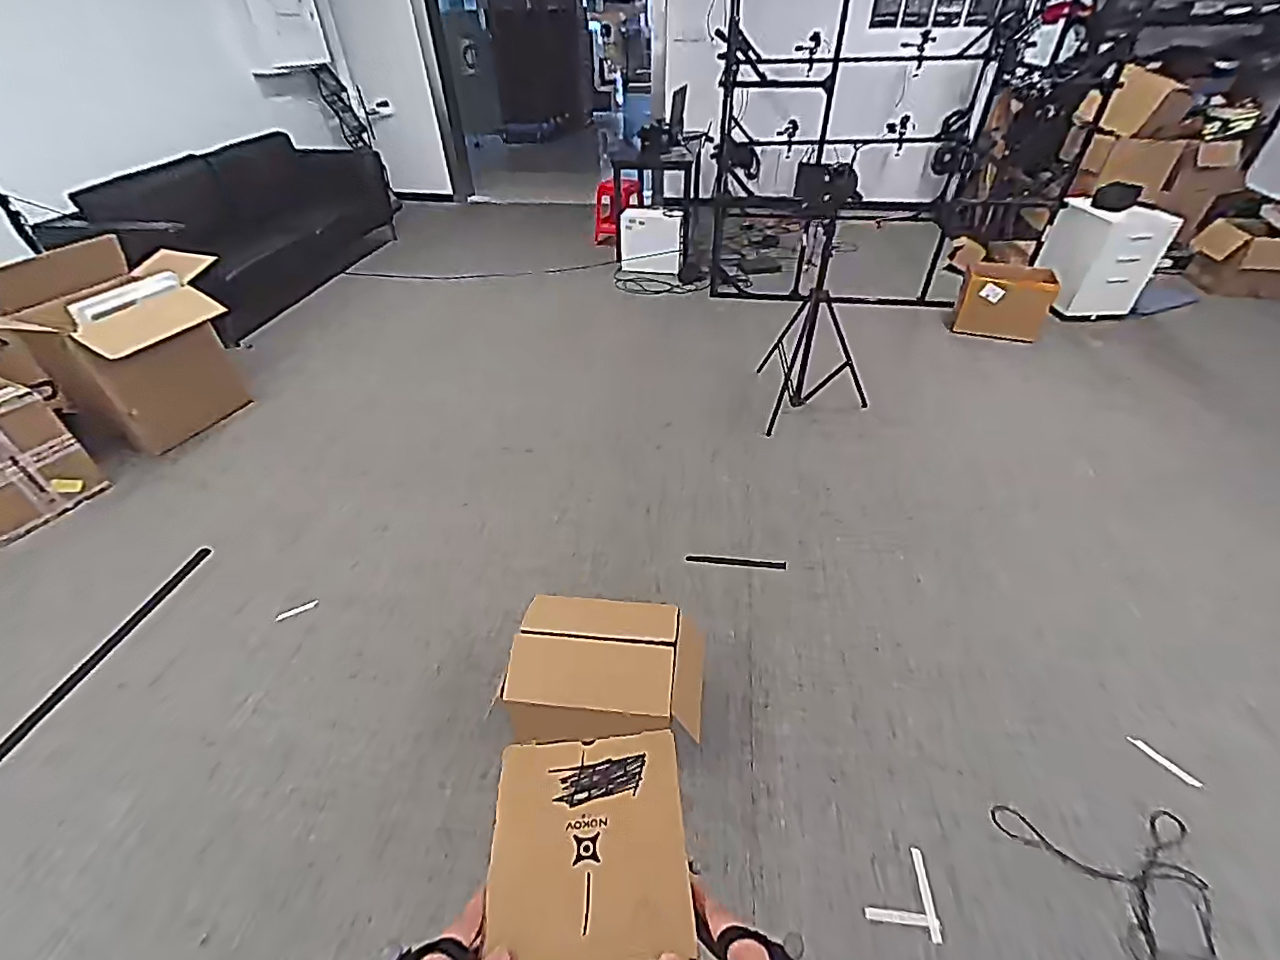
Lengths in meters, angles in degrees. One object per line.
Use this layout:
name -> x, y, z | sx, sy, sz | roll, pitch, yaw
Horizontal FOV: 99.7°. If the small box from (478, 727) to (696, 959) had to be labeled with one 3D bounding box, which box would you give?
small box -> -0.041, 0.367, 0.516 | 0.168, 0.176, 0.179 | -5, 37, -1
